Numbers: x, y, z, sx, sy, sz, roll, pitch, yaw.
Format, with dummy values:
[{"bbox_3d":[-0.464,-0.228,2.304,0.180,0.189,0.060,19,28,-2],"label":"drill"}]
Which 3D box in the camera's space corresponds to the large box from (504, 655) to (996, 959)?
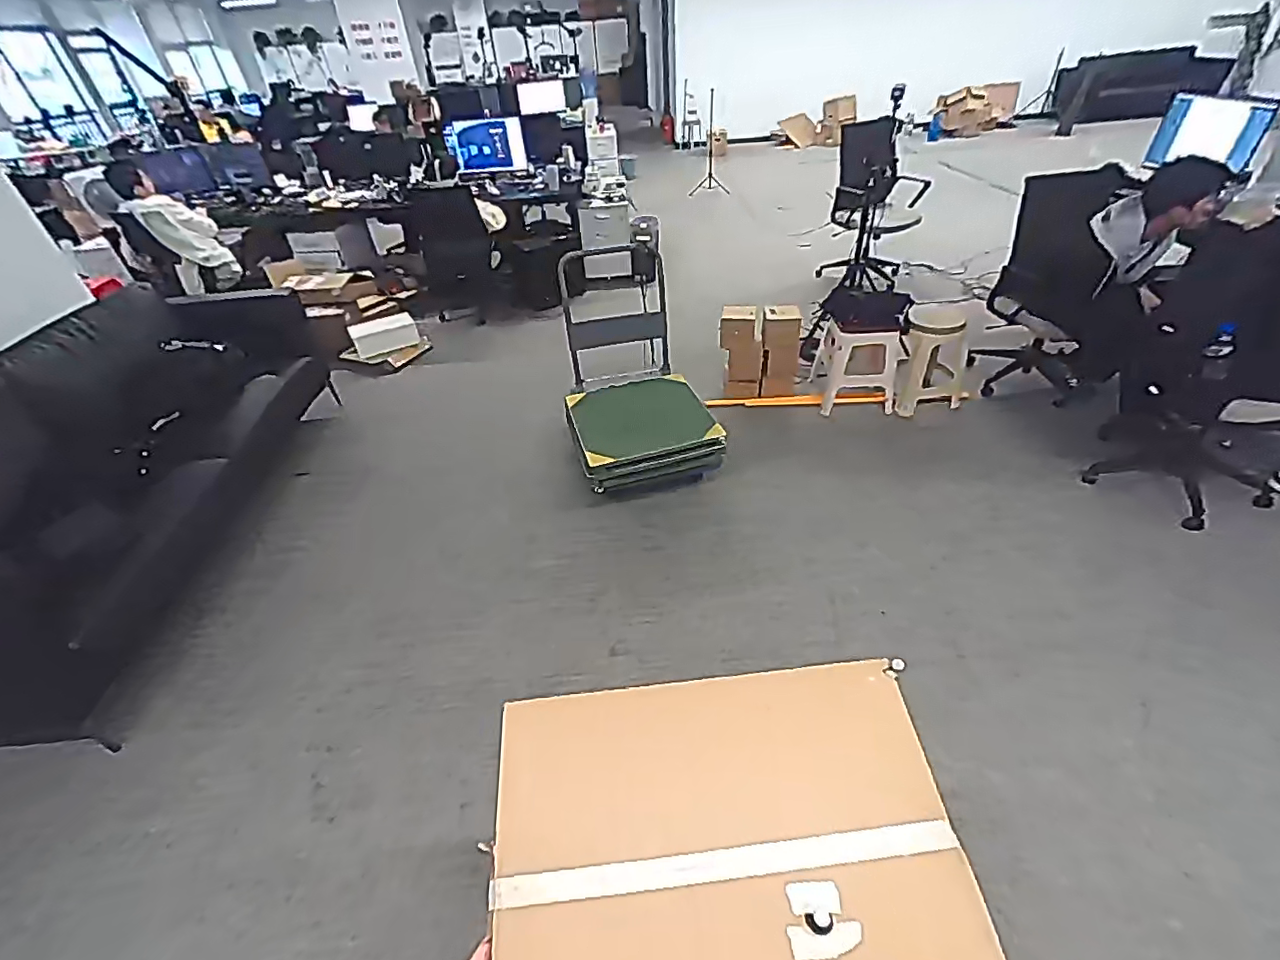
[{"bbox_3d":[0.082,0.423,0.599,0.408,0.320,0.320,-6,54,-2],"label":"large box"}]
